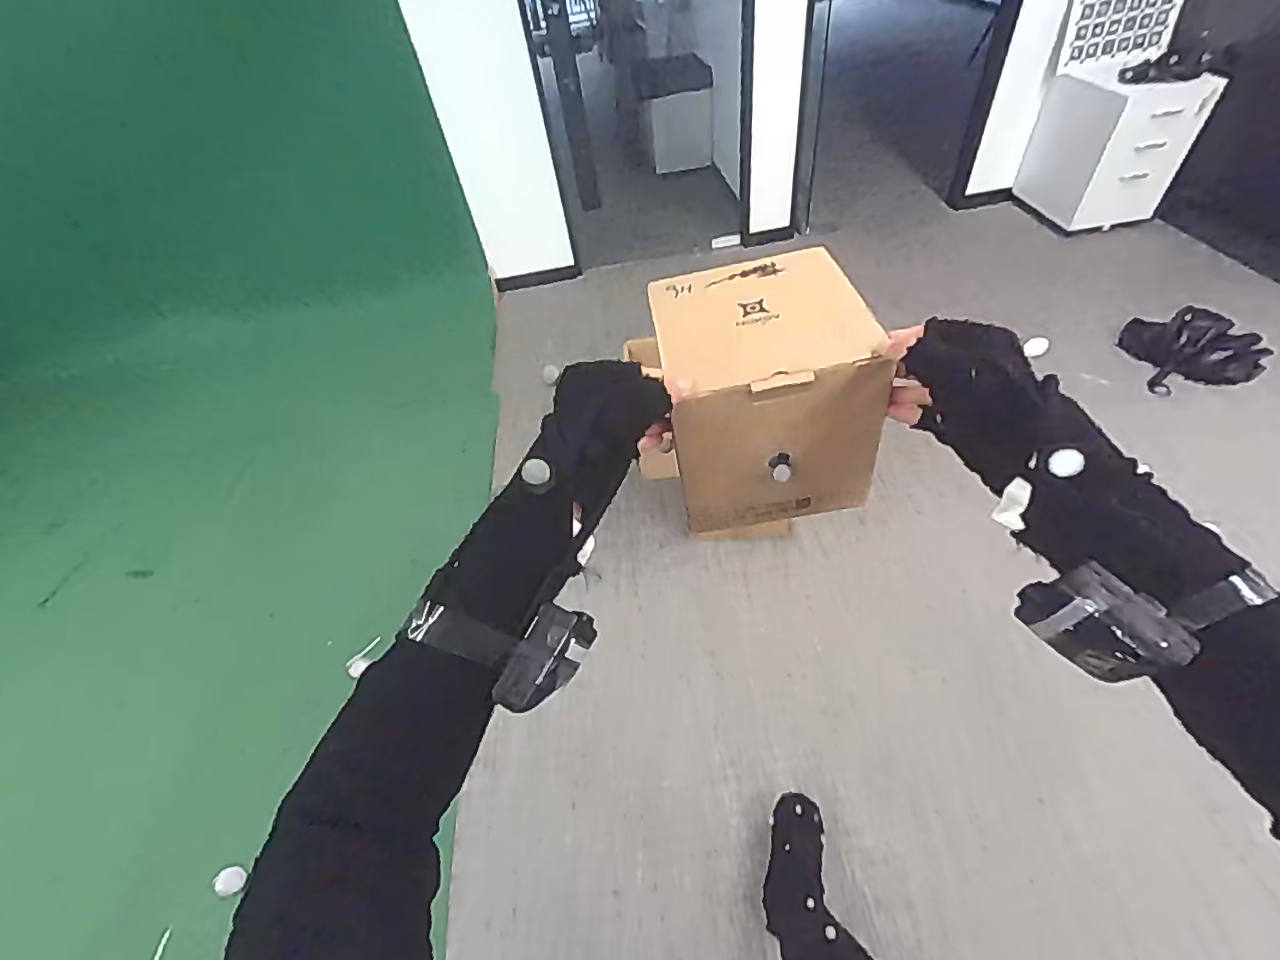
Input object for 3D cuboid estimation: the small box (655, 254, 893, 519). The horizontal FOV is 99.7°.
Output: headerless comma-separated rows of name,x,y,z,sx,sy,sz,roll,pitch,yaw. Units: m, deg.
small box,0.114,-0.079,0.508,0.168,0.176,0.179,-10,47,5
